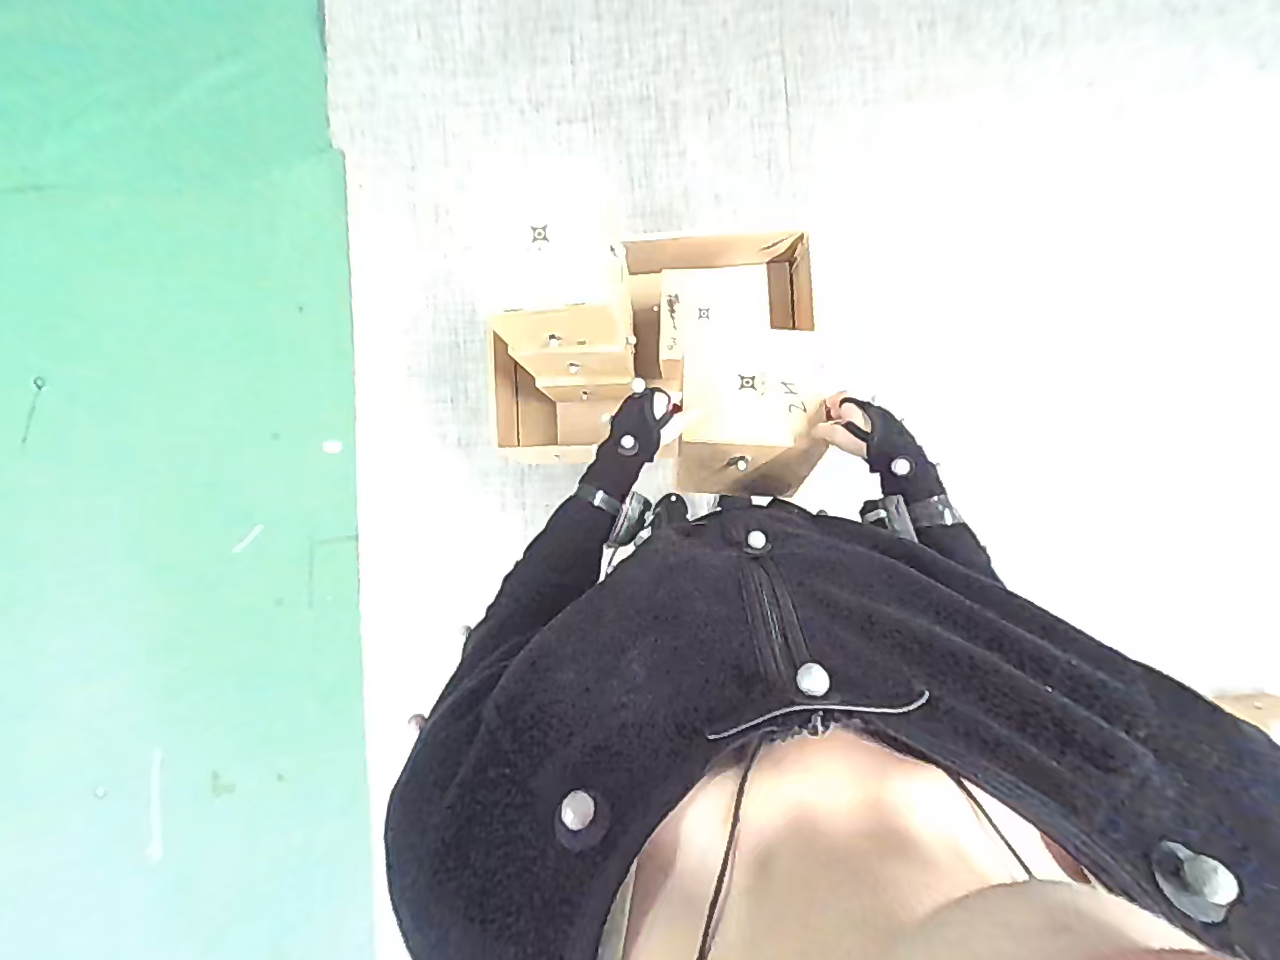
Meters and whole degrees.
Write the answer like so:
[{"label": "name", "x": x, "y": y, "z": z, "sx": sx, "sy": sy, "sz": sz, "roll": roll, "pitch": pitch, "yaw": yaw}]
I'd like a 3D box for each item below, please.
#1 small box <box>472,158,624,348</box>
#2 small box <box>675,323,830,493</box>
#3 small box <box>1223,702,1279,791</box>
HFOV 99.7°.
[{"label": "small box", "x": -0.114, "y": -0.291, "z": 0.725, "sx": 0.168, "sy": 0.176, "sz": 0.179, "roll": -4, "pitch": 87, "yaw": 4}, {"label": "small box", "x": 0.139, "y": -0.089, "z": 0.726, "sx": 0.179, "sy": 0.176, "sz": 0.168, "roll": 4, "pitch": 68, "yaw": 2}, {"label": "small box", "x": 1.568, "y": 0.645, "z": 1.297, "sx": 0.168, "sy": 0.176, "sz": 0.179, "roll": -5, "pitch": 87, "yaw": 5}]
